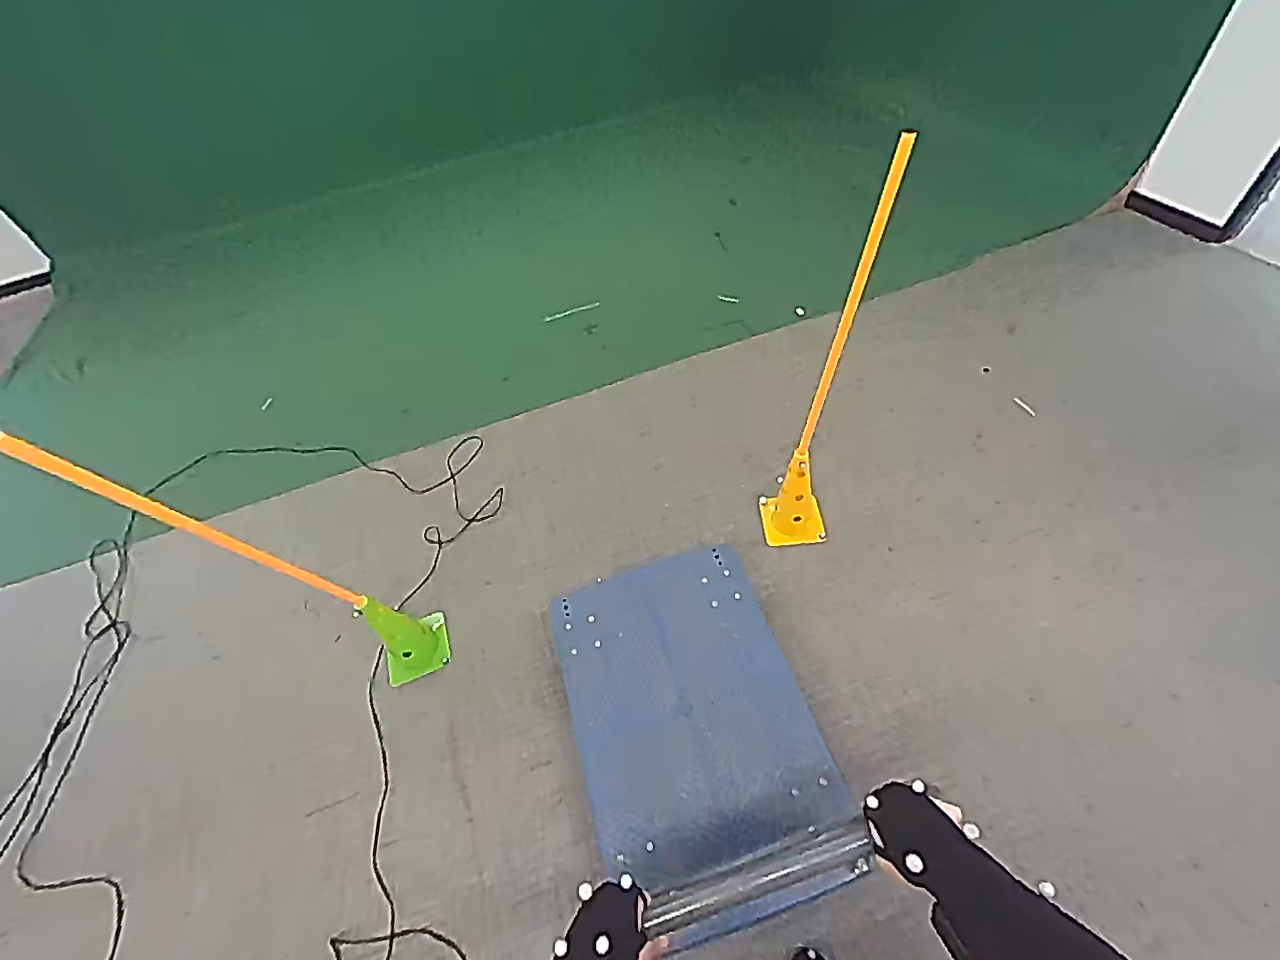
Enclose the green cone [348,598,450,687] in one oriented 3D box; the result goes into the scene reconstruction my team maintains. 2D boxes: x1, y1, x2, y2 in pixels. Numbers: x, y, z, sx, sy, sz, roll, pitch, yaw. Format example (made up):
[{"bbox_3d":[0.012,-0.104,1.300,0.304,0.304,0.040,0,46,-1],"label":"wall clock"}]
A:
[{"bbox_3d":[-0.759,0.449,1.638,0.202,0.368,0.200,-23,51,-7],"label":"green cone"}]
